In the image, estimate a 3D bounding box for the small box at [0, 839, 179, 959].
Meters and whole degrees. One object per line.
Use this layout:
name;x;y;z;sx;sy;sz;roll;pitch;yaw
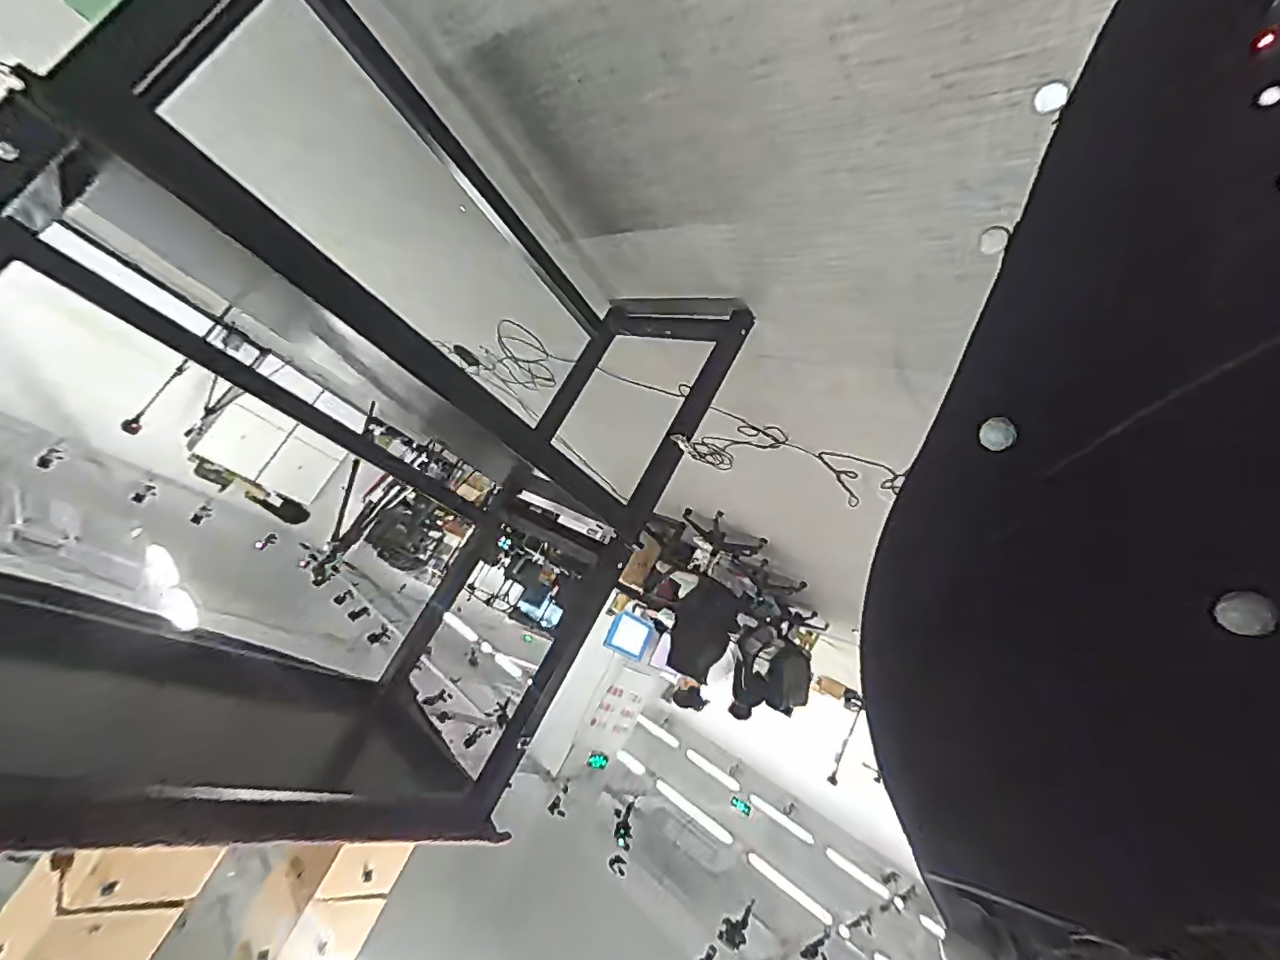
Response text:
small box;-0.875;0.691;0.856;0.179;0.176;0.168;20;162;44

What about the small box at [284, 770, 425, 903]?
small box;-0.594;0.742;1.139;0.168;0.176;0.179;16;161;42

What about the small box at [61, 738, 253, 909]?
small box;-0.790;0.558;0.896;0.168;0.176;0.179;20;163;42
